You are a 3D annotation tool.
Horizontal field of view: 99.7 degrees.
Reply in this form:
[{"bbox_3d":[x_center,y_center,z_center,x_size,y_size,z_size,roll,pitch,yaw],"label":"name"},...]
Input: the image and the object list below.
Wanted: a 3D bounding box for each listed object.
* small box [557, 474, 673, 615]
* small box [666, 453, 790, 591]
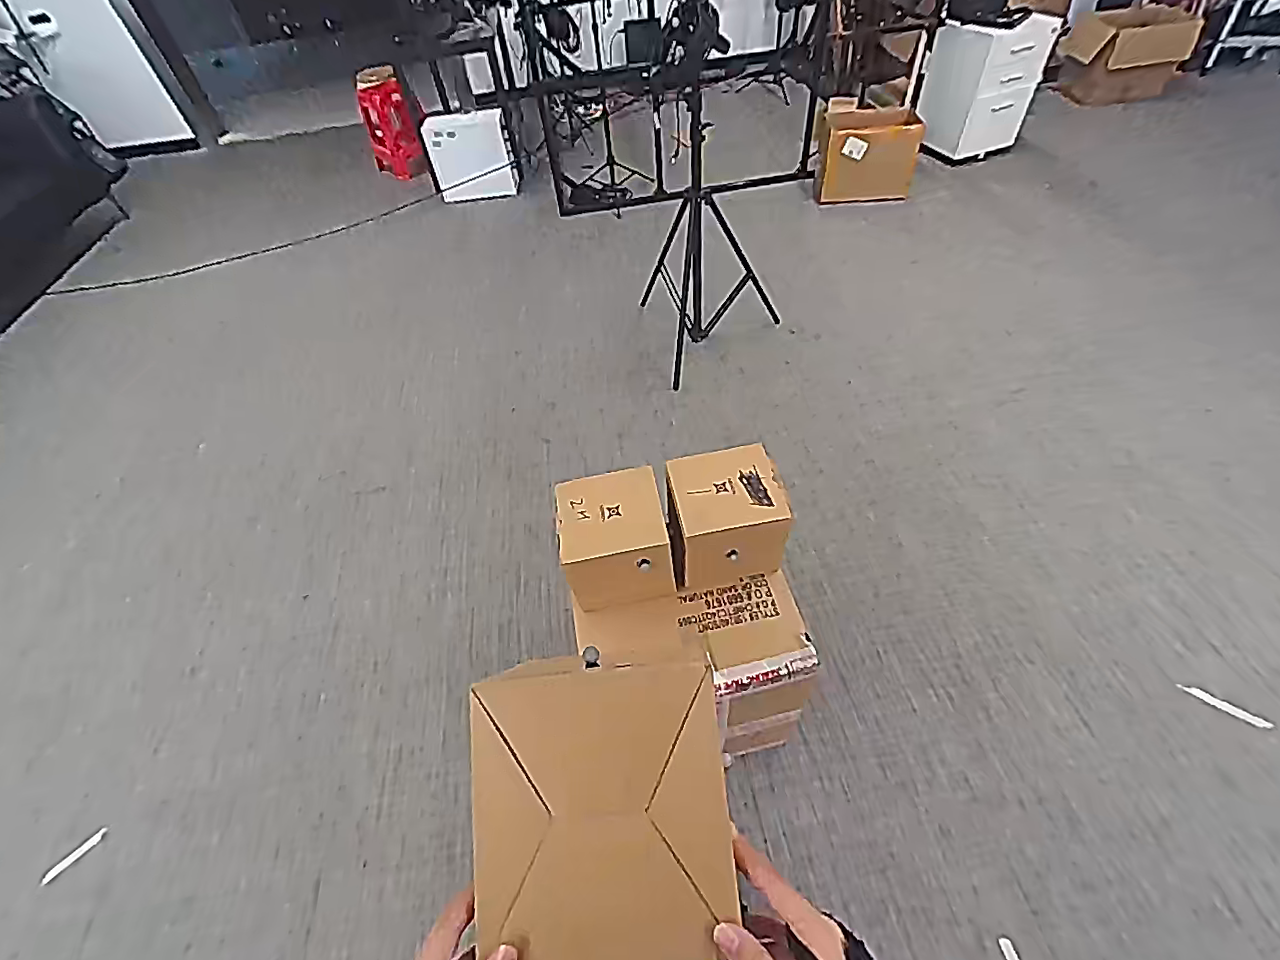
[{"bbox_3d":[-0.040,0.117,0.952,0.179,0.176,0.168,-12,50,0],"label":"small box"},{"bbox_3d":[0.146,0.078,0.964,0.179,0.176,0.168,-10,51,-3],"label":"small box"}]
